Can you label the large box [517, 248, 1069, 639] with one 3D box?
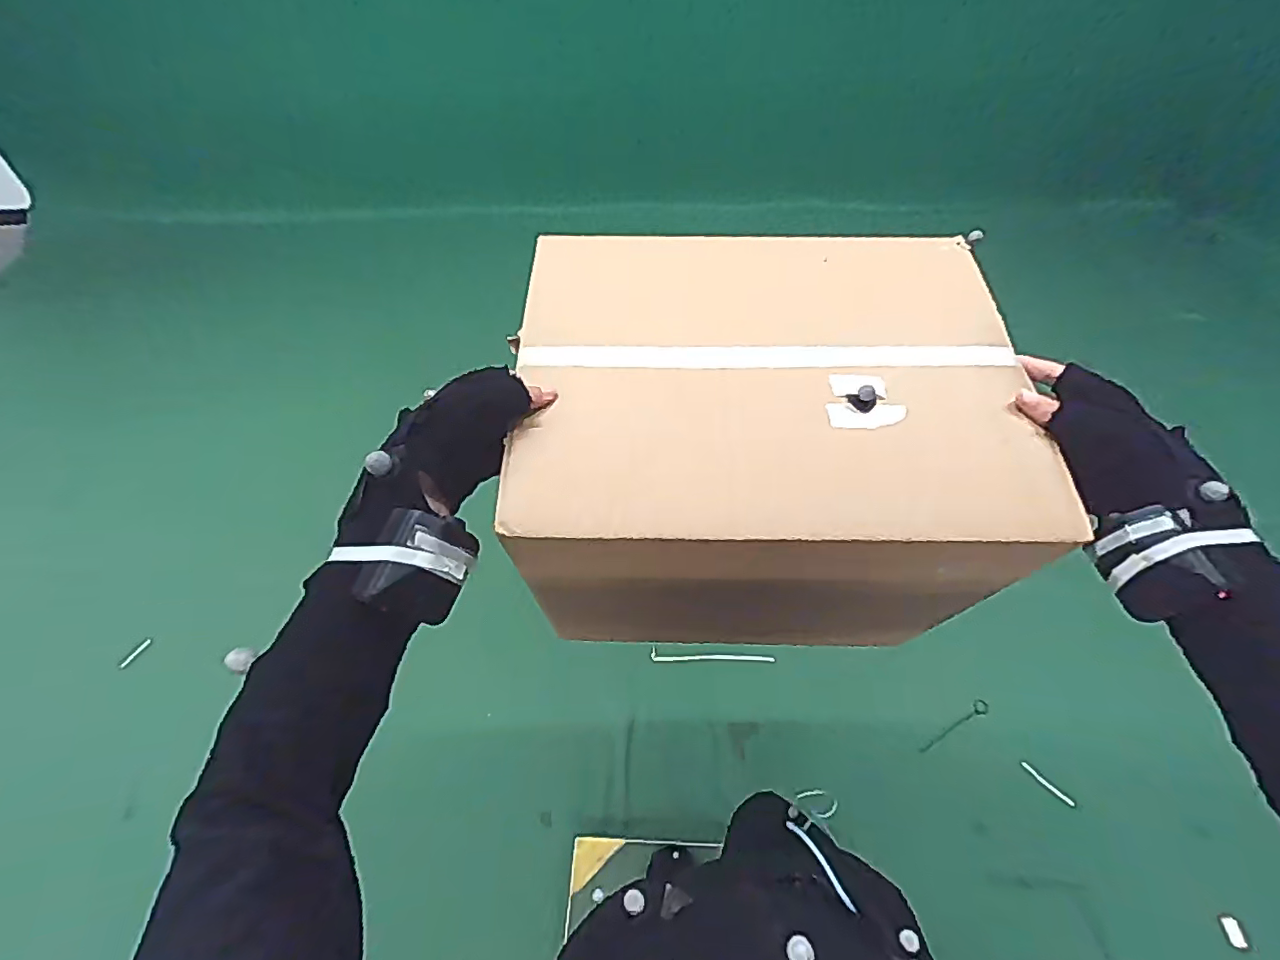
[{"bbox_3d":[0.106,-0.021,0.584,0.408,0.320,0.320,1,61,0],"label":"large box"}]
